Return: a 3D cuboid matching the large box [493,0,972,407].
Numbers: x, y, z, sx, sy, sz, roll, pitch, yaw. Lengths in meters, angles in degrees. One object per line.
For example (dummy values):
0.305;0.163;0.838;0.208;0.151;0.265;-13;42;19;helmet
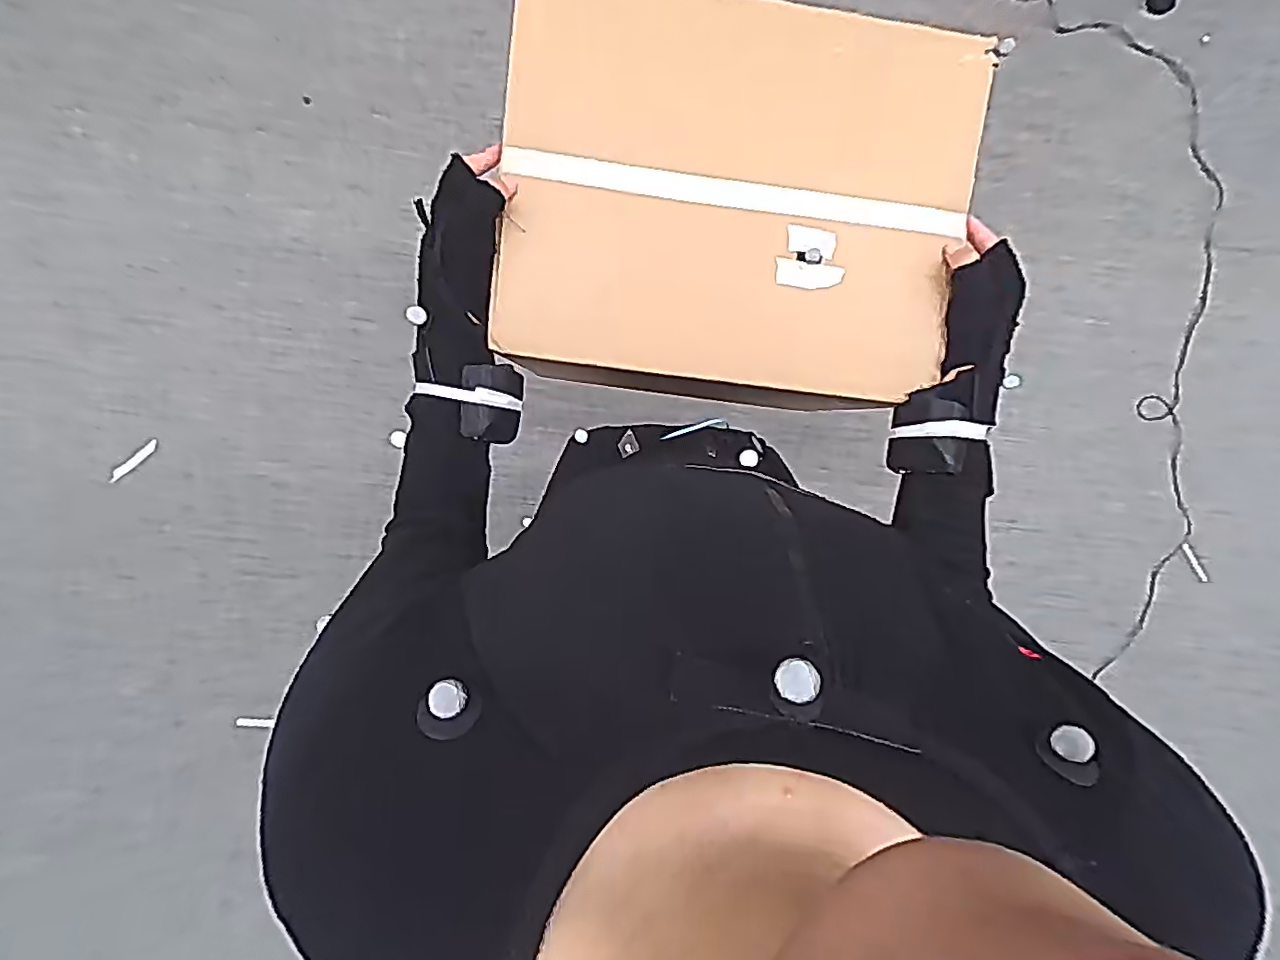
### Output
0.069;-0.260;0.622;0.408;0.320;0.320;6;98;-5;large box
